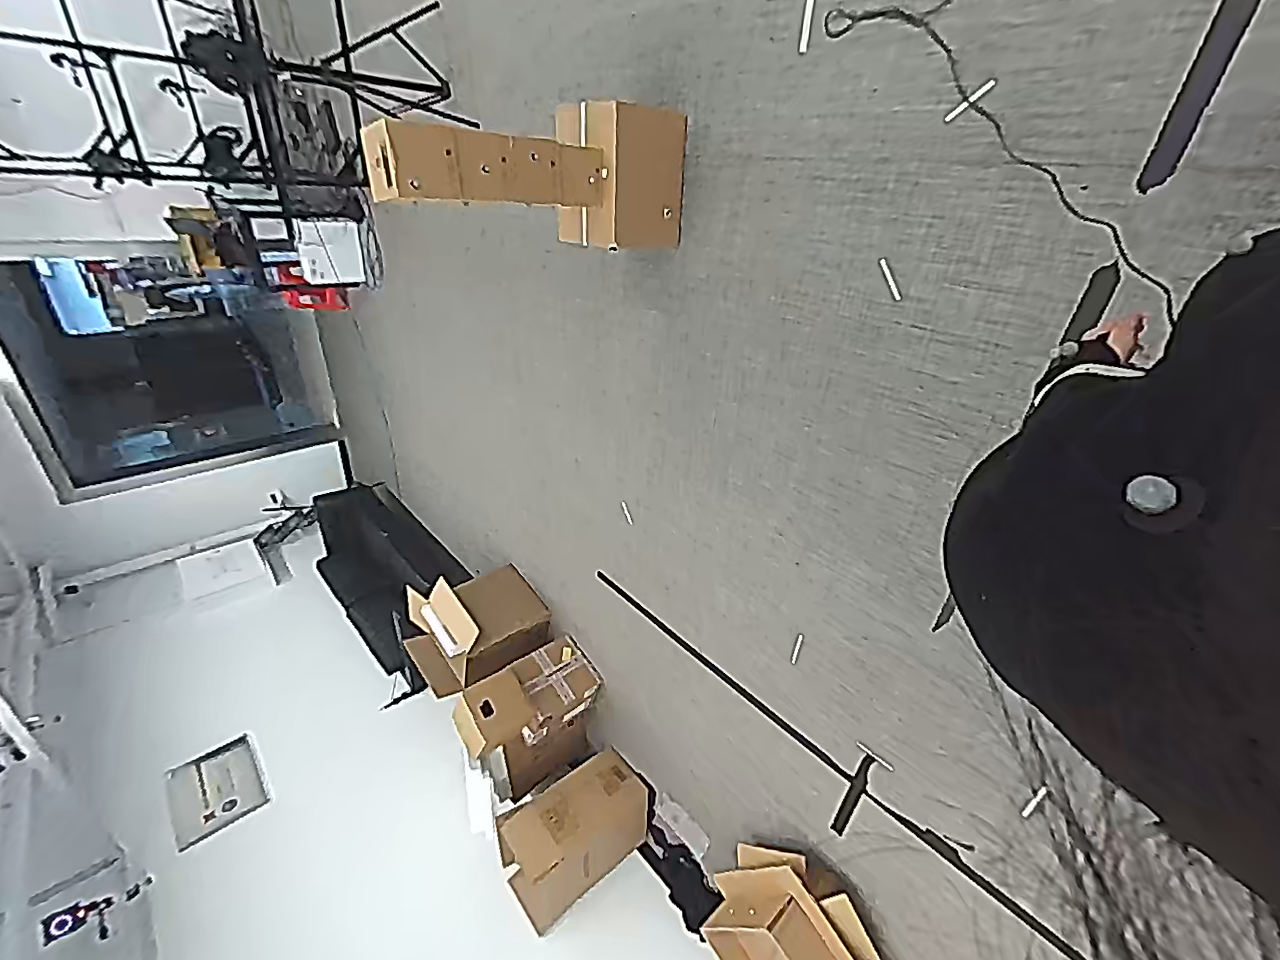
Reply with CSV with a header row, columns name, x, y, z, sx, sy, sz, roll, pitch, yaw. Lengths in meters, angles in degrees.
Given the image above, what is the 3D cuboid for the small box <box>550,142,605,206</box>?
name,x,y,z,sx,sy,sz,roll,pitch,yaw
small box,-0.229,-0.958,1.697,0.179,0.176,0.168,28,127,39

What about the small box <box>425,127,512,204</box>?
name,x,y,z,sx,sy,sz,roll,pitch,yaw
small box,-0.467,-0.862,1.495,0.179,0.176,0.168,22,122,42

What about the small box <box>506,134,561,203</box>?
name,x,y,z,sx,sy,sz,roll,pitch,yaw
small box,-0.343,-0.913,1.592,0.179,0.176,0.168,27,126,41
